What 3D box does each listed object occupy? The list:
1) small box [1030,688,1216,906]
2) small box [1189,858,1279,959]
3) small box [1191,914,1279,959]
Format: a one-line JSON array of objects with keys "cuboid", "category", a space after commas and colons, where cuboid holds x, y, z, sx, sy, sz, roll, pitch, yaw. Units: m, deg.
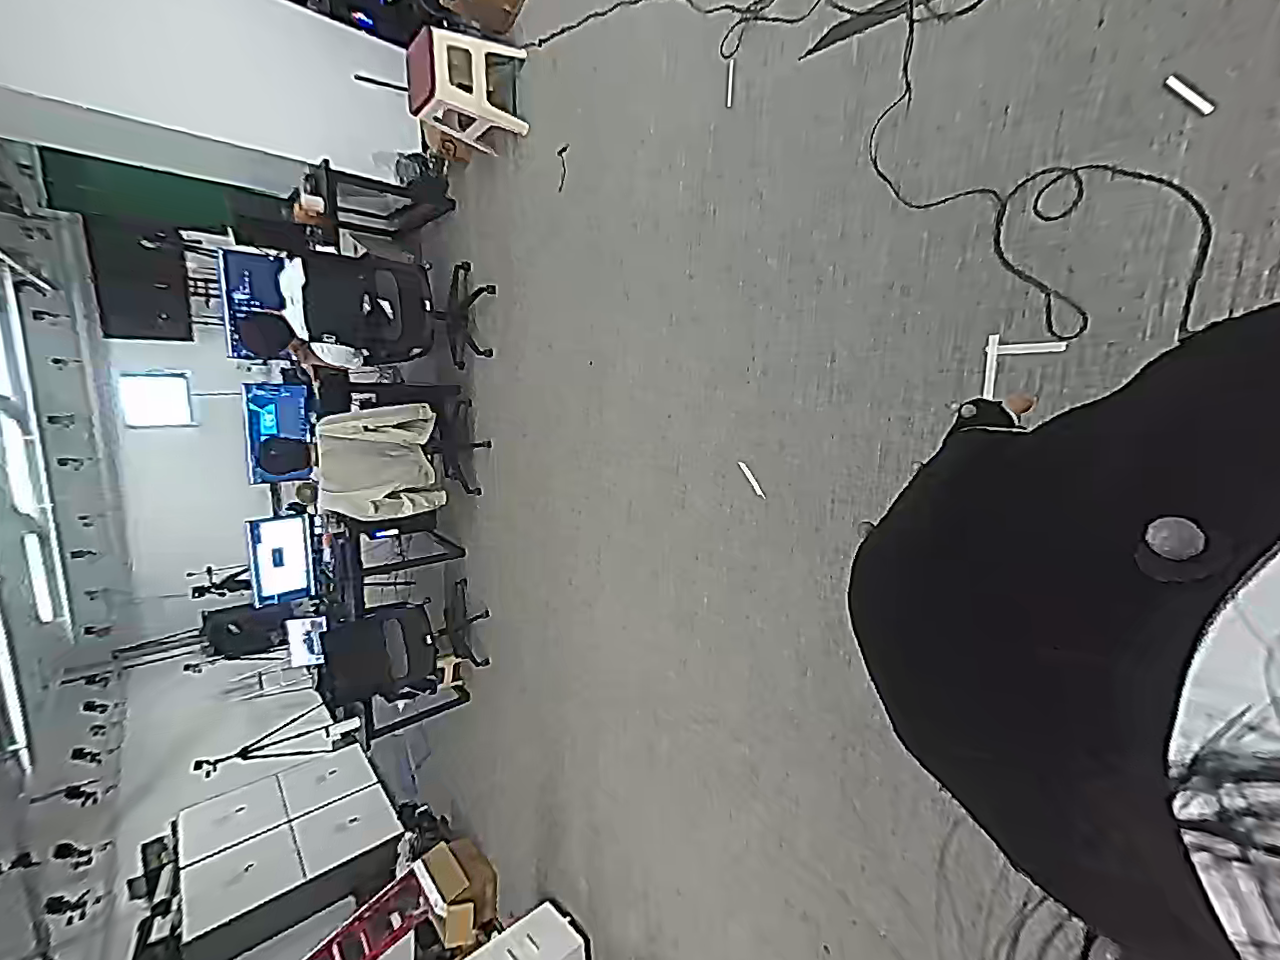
[{"cuboid": [0.685, 0.429, 0.768, 0.168, 0.176, 0.179, 11, 101, 48], "category": "small box"}, {"cuboid": [0.799, 0.627, 0.662, 0.168, 0.176, 0.179, 13, 103, 46], "category": "small box"}, {"cuboid": [0.676, 0.618, 0.554, 0.168, 0.176, 0.179, 12, 102, 45], "category": "small box"}]
